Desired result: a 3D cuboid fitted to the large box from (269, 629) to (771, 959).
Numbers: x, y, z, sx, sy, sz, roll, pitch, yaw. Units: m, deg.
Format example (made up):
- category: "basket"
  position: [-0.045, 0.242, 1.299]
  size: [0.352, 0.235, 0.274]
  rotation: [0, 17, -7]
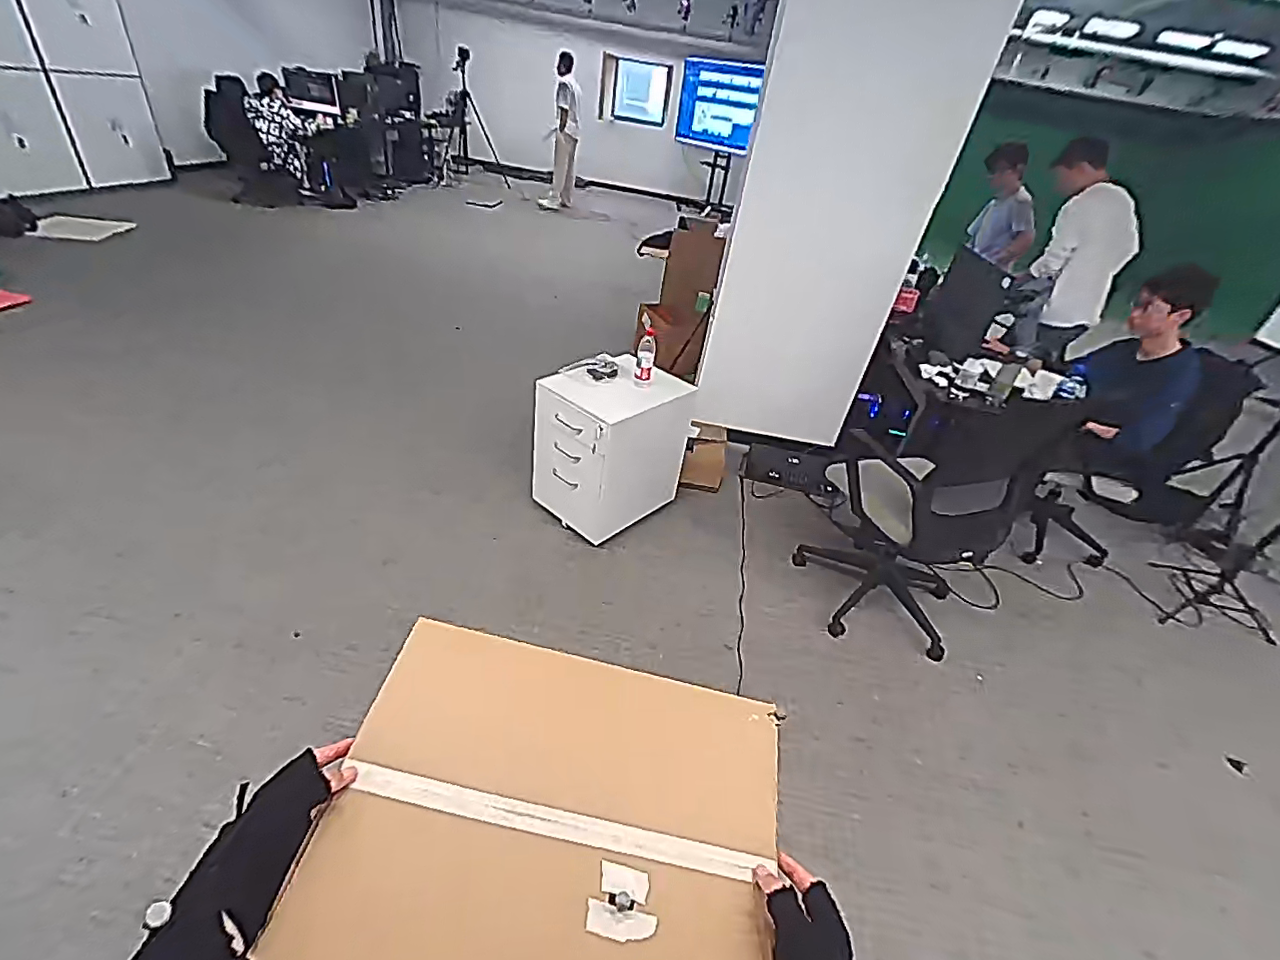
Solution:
- category: "large box"
  position: [-0.098, 0.416, 0.611]
  size: [0.408, 0.320, 0.320]
  rotation: [14, 48, -1]
